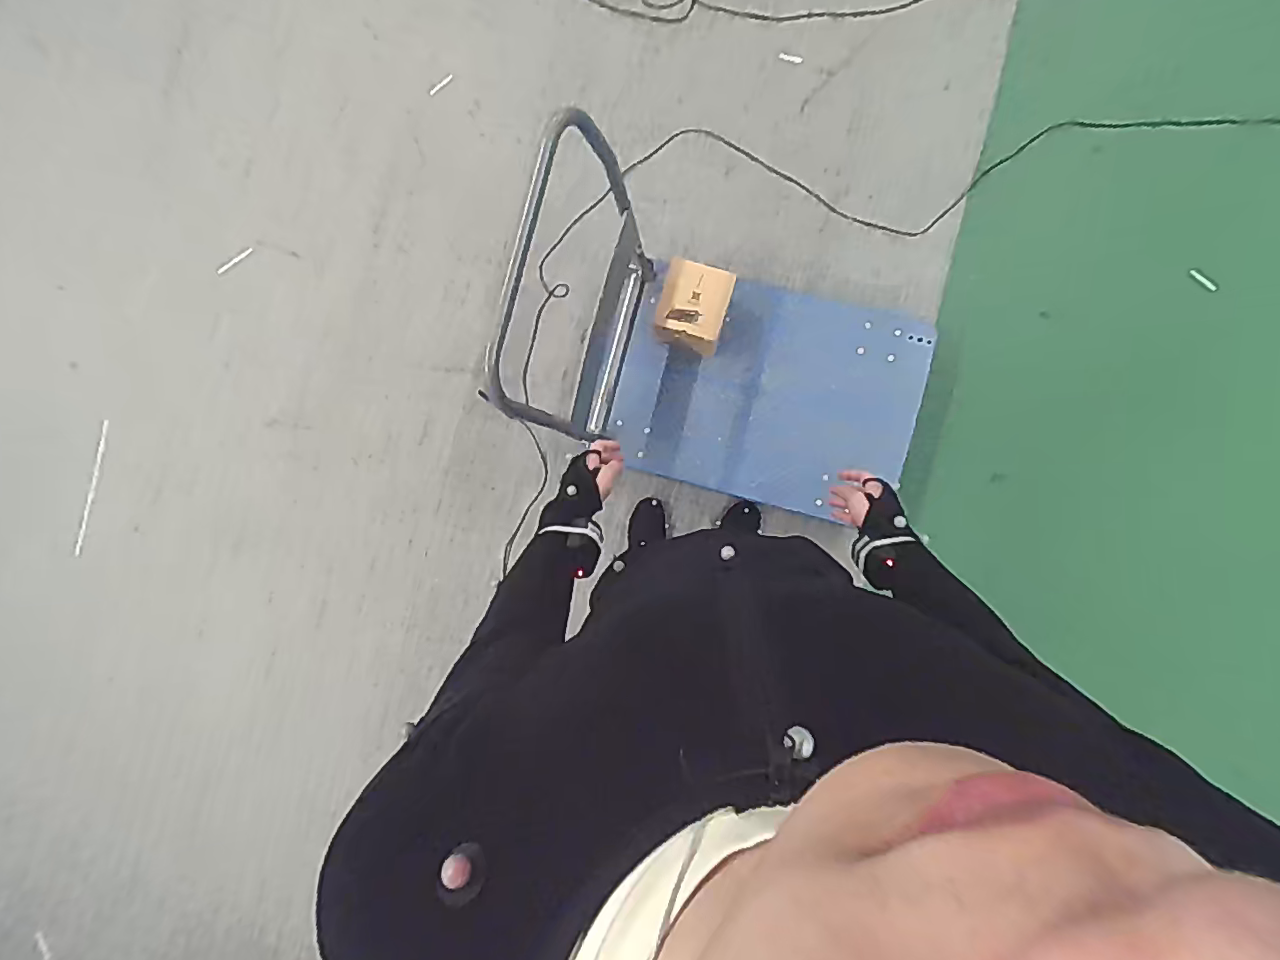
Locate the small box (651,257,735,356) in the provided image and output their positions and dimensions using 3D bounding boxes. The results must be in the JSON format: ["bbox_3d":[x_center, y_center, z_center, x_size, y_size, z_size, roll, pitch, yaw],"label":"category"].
[{"bbox_3d":[0.136,-0.437,1.390,0.168,0.176,0.179,18,90,4],"label":"small box"}]
